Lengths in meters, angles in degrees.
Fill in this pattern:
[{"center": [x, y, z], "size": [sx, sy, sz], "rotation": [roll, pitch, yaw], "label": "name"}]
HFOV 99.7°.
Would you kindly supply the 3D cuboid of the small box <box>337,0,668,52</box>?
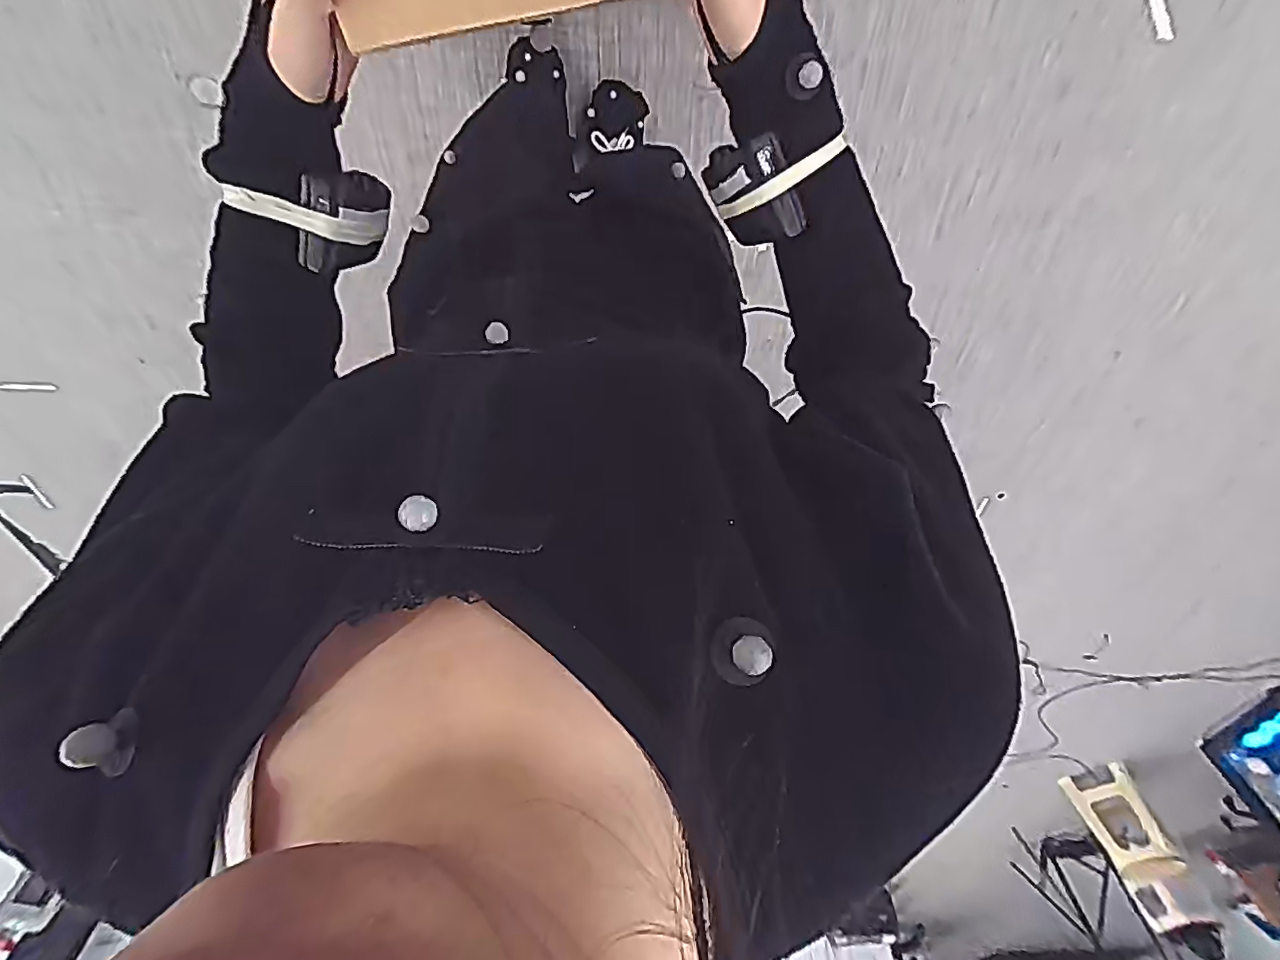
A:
[{"center": [-0.072, -0.342, 0.271], "size": [0.168, 0.176, 0.179], "rotation": [-3, 132, 9], "label": "small box"}]
